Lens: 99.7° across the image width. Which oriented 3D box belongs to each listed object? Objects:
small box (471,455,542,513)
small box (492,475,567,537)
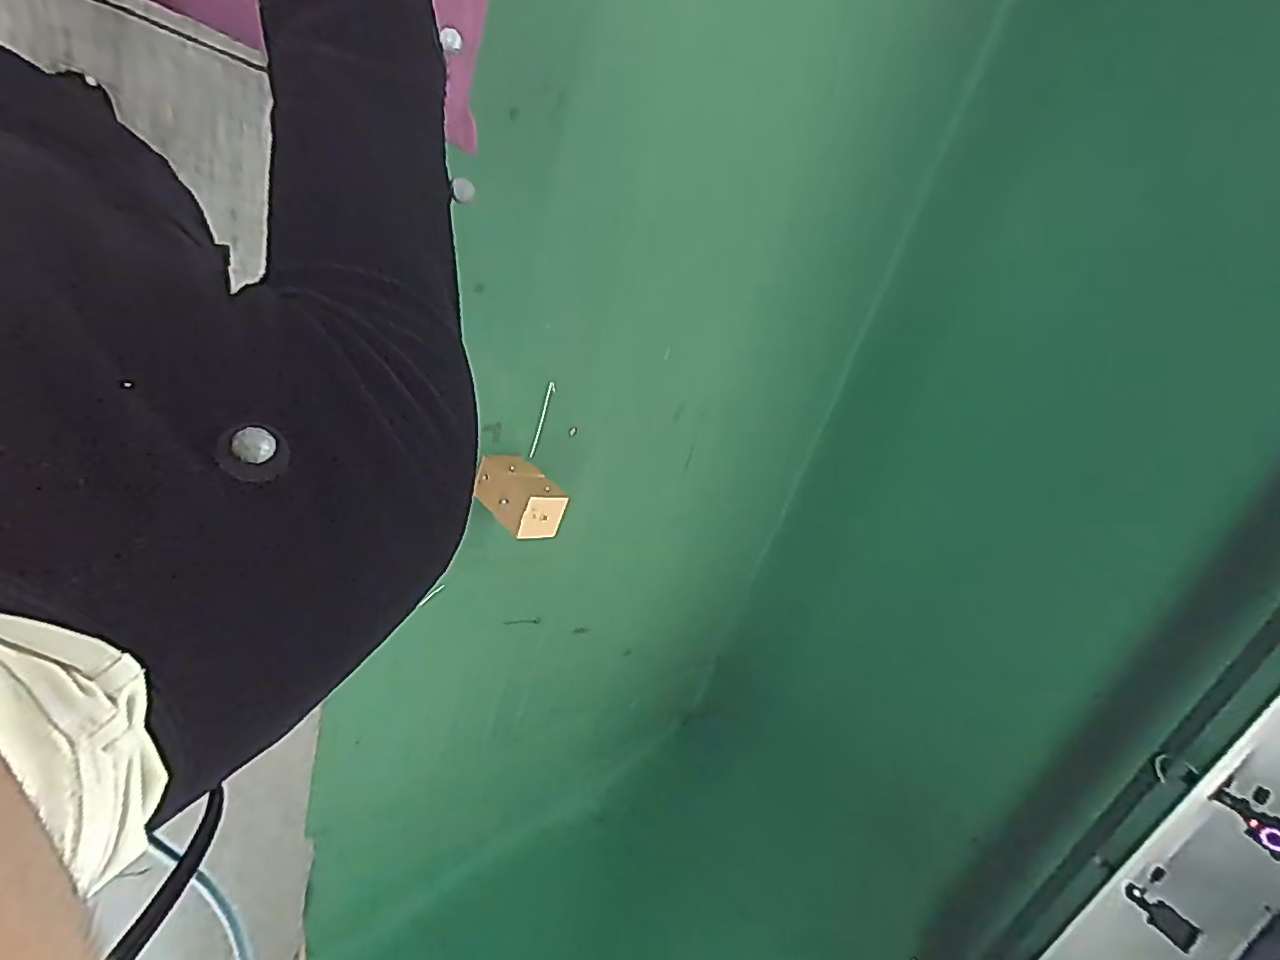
[{"bbox_3d":[-0.507,0.013,2.049,0.179,0.176,0.168,2,116,-48],"label":"small box"},{"bbox_3d":[-0.402,0.091,1.949,0.179,0.176,0.168,4,114,-49],"label":"small box"}]
